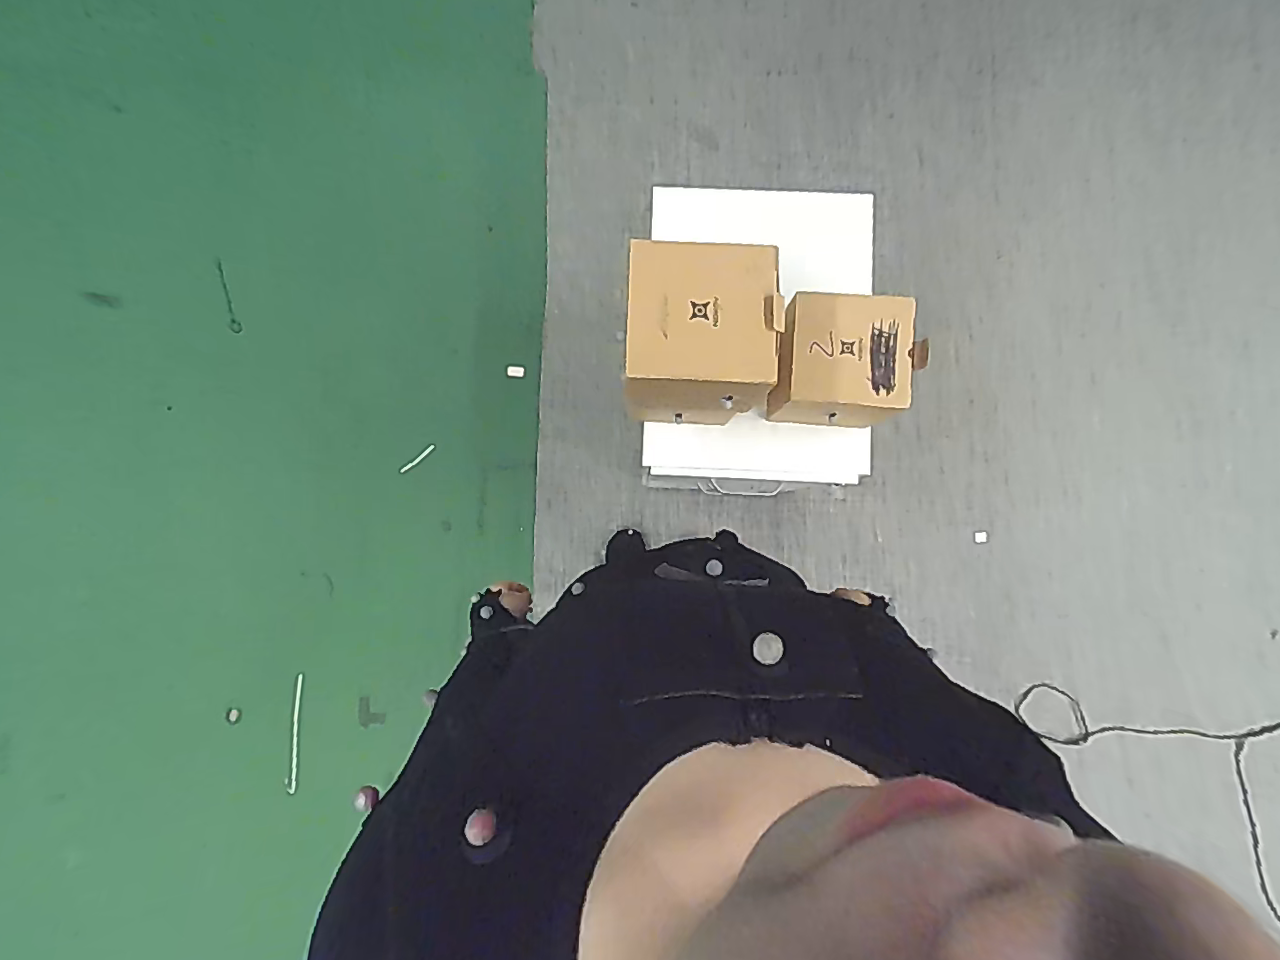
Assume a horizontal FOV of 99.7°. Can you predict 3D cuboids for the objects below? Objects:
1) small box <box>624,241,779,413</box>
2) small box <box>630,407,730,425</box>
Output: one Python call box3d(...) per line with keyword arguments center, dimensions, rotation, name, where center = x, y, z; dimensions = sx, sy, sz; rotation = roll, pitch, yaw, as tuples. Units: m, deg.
box3d(center=(0.070, -0.185, 0.697), dimensions=(0.179, 0.176, 0.168), rotation=(2, 85, 0), name="small box")
box3d(center=(0.069, -0.188, 0.860), dimensions=(0.168, 0.176, 0.179), rotation=(3, 86, -1), name="small box")
